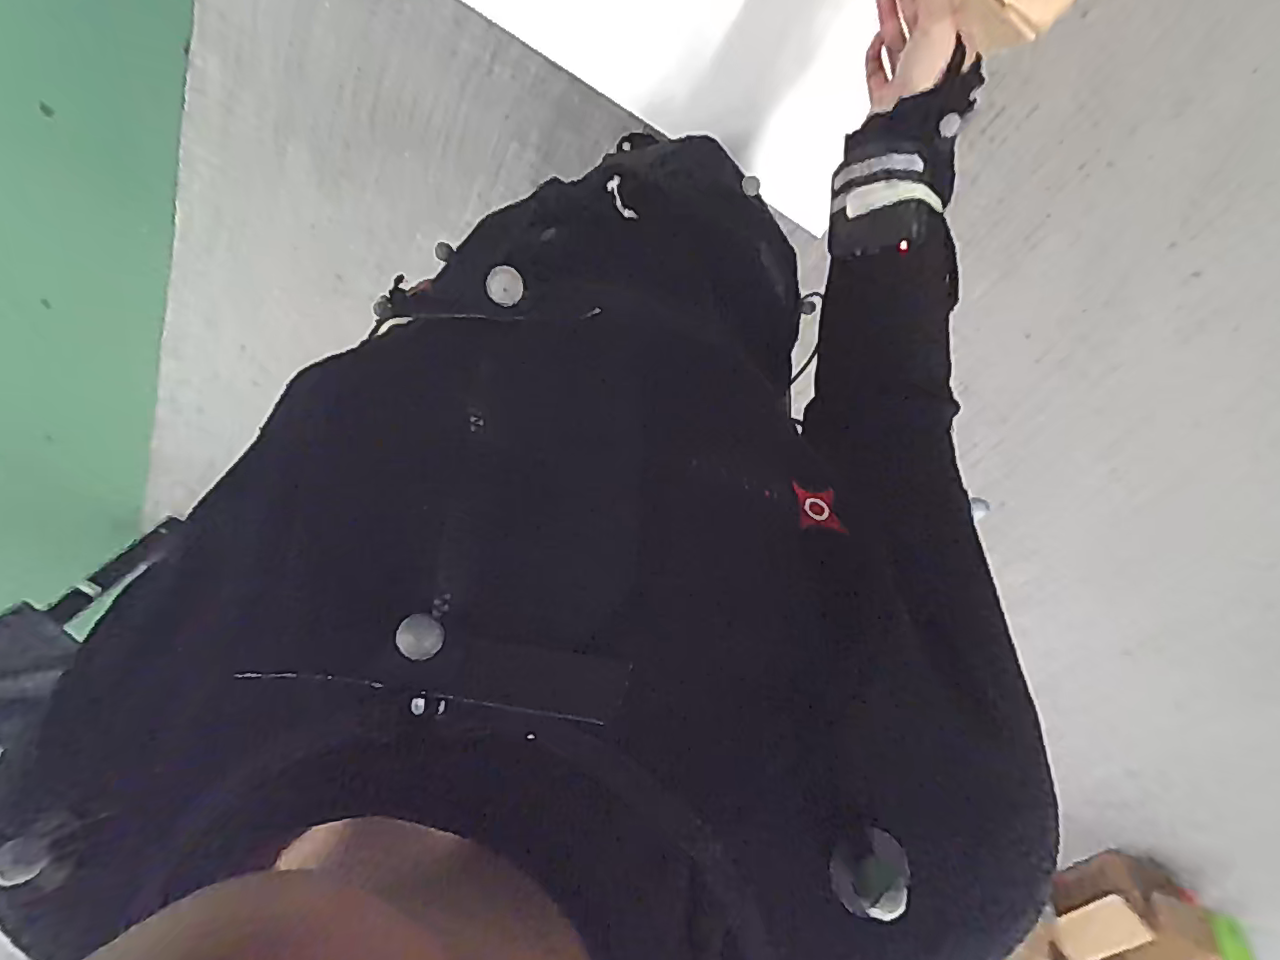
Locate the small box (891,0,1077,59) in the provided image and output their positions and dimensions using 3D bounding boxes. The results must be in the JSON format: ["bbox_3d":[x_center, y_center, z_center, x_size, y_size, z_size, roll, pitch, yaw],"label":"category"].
[{"bbox_3d":[0.264,-0.442,0.382,0.168,0.176,0.179,31,121,-14],"label":"small box"}]
